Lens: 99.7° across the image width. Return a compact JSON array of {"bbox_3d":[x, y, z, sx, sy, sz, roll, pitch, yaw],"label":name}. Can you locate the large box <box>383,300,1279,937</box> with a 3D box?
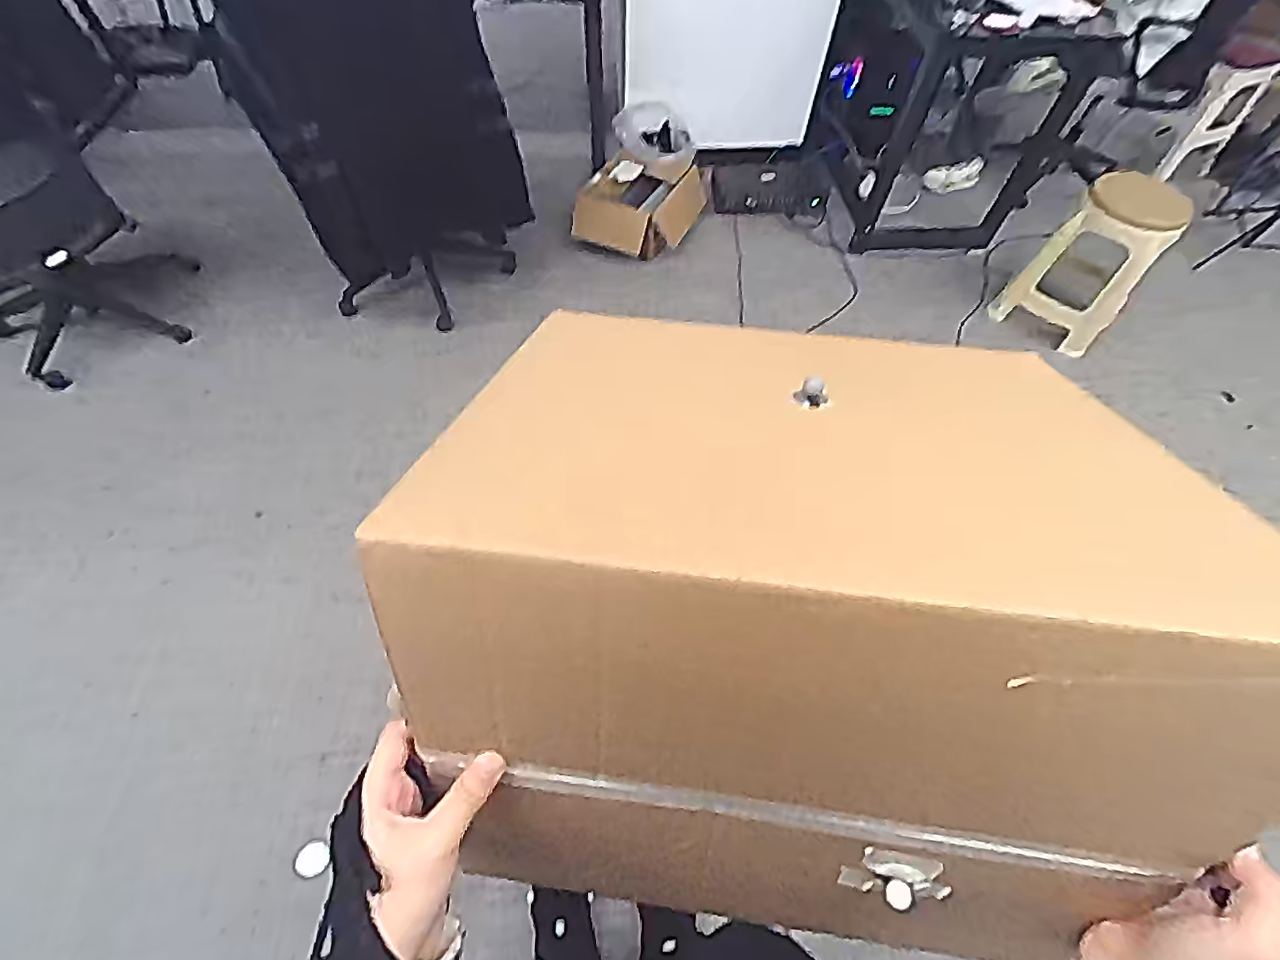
[{"bbox_3d":[0.105,0.065,0.401,0.408,0.320,0.320,5,34,4],"label":"large box"}]
